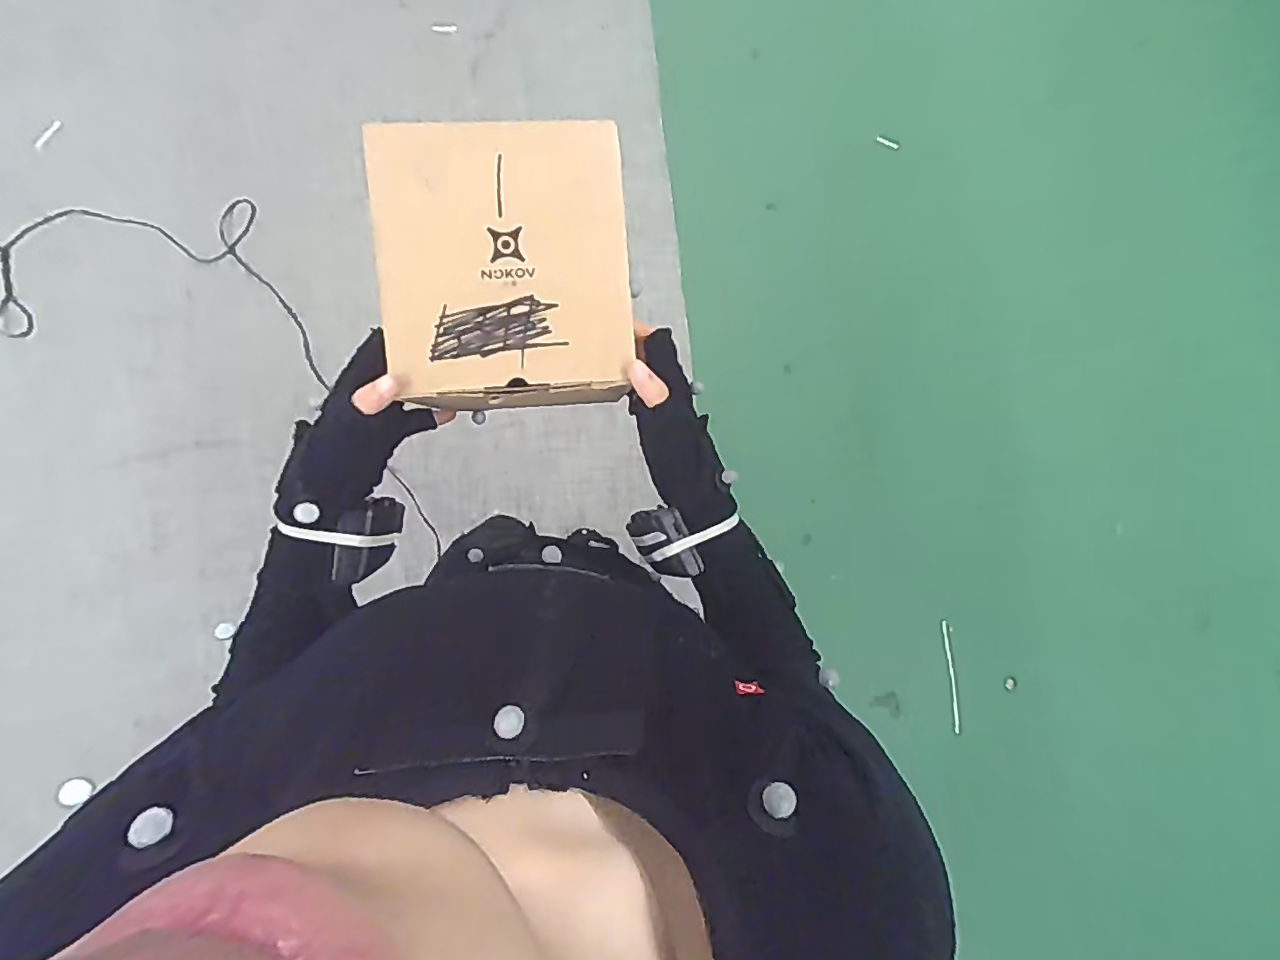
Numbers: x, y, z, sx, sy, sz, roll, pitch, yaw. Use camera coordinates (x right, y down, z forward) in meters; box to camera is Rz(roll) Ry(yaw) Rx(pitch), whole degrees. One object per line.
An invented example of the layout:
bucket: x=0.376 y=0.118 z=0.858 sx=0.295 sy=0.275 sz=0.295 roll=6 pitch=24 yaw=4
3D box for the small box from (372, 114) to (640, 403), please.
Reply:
small box: x=-0.092 y=-0.155 z=0.434 sx=0.168 sy=0.176 sz=0.179 roll=-5 pitch=94 yaw=-7
